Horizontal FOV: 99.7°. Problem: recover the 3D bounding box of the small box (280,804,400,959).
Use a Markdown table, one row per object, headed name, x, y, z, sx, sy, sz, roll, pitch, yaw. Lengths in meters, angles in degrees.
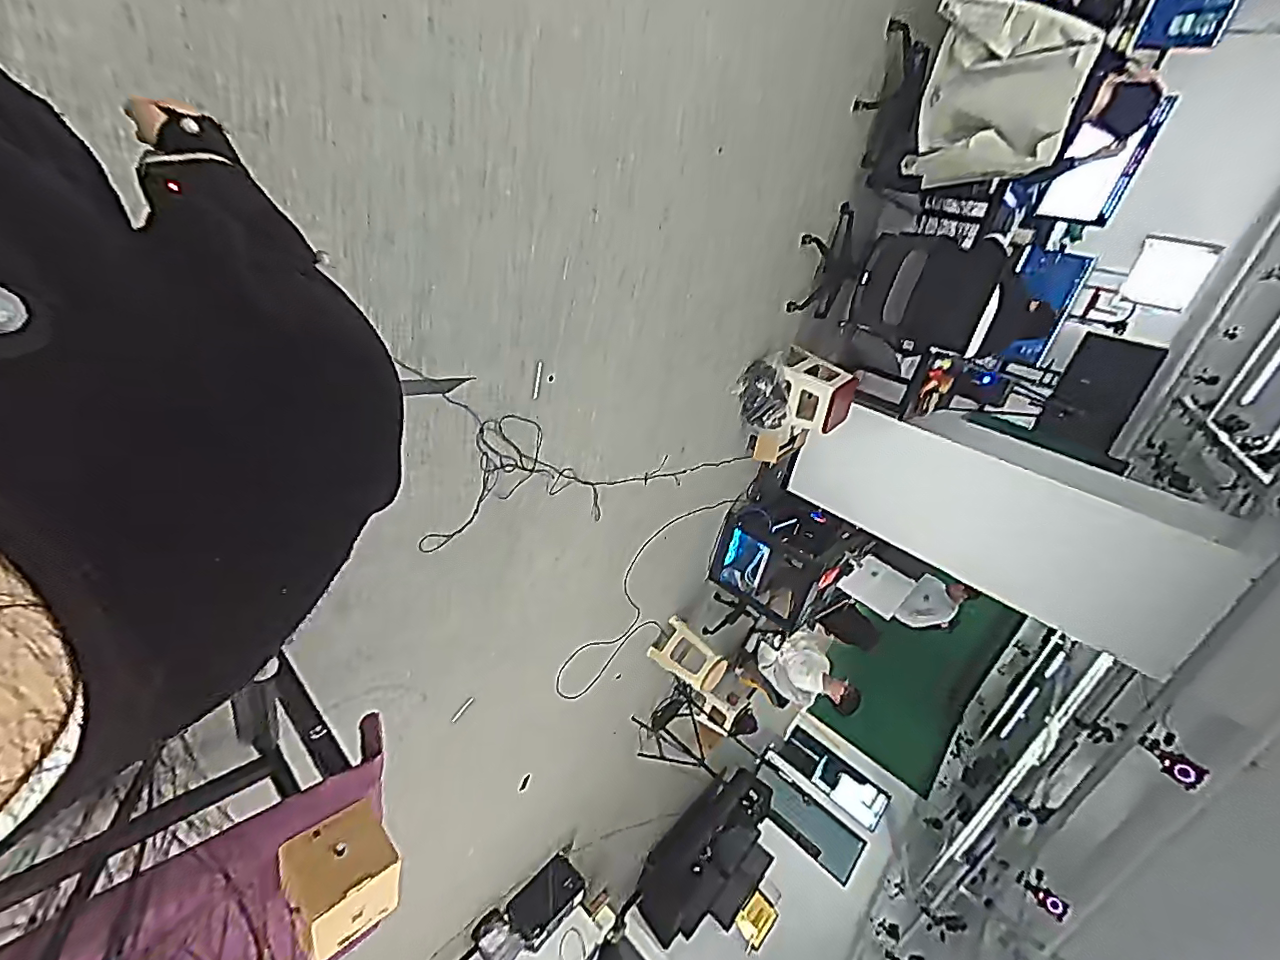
| name | x | y | z | sx | sy | sz | roll | pitch | yaw |
| --- | --- | --- | --- | --- | --- | --- | --- | --- | --- |
| small box | -0.609 | 0.802 | 1.096 | 0.168 | 0.176 | 0.179 | -14 | 126 | -48 |
